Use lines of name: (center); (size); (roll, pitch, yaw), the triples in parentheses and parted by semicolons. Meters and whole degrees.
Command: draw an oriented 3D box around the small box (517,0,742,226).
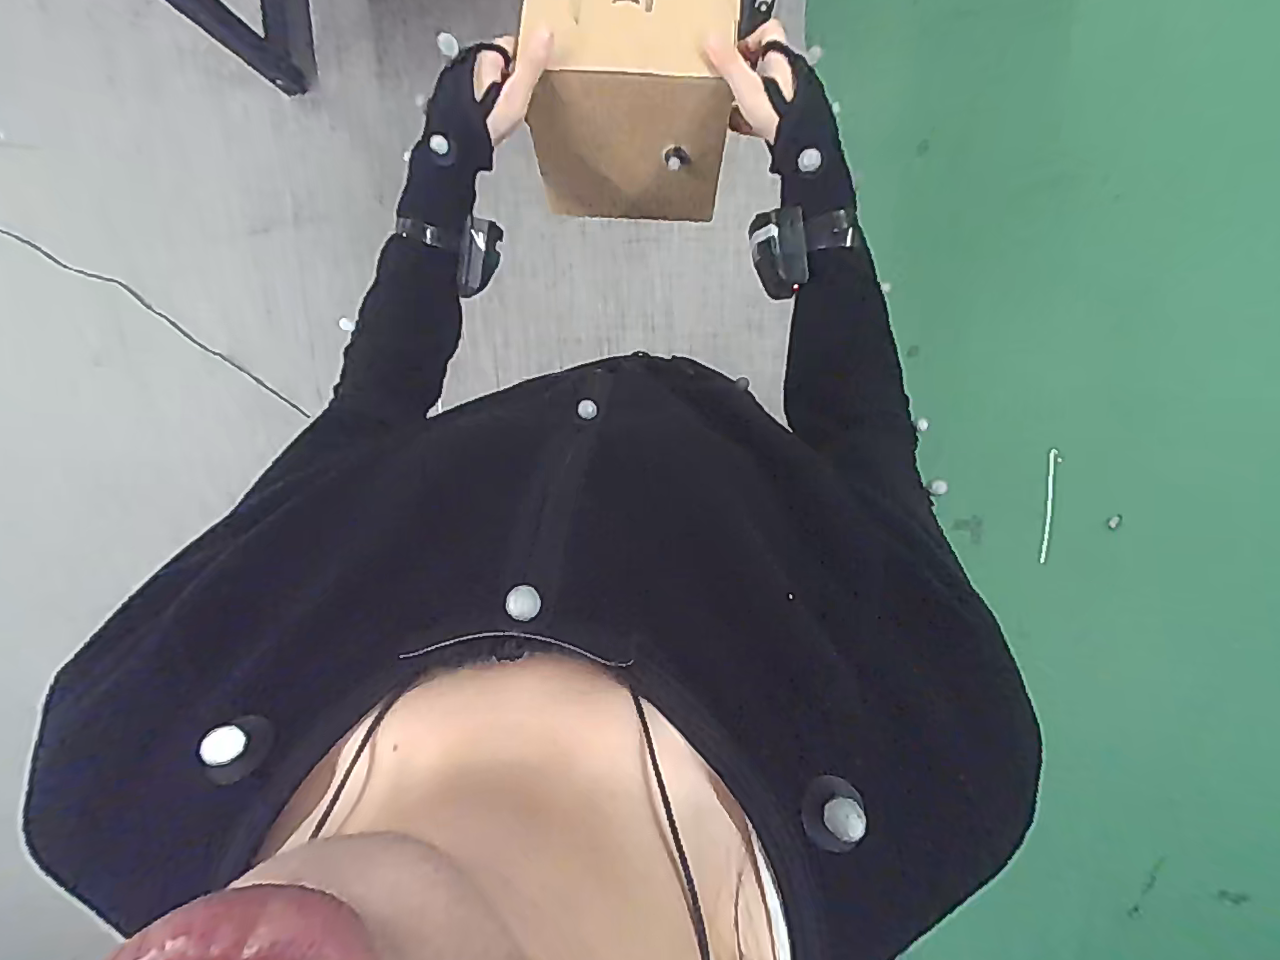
small box: (-0.005, -0.370, 0.518); (0.179, 0.176, 0.168); (4, 76, 1)
